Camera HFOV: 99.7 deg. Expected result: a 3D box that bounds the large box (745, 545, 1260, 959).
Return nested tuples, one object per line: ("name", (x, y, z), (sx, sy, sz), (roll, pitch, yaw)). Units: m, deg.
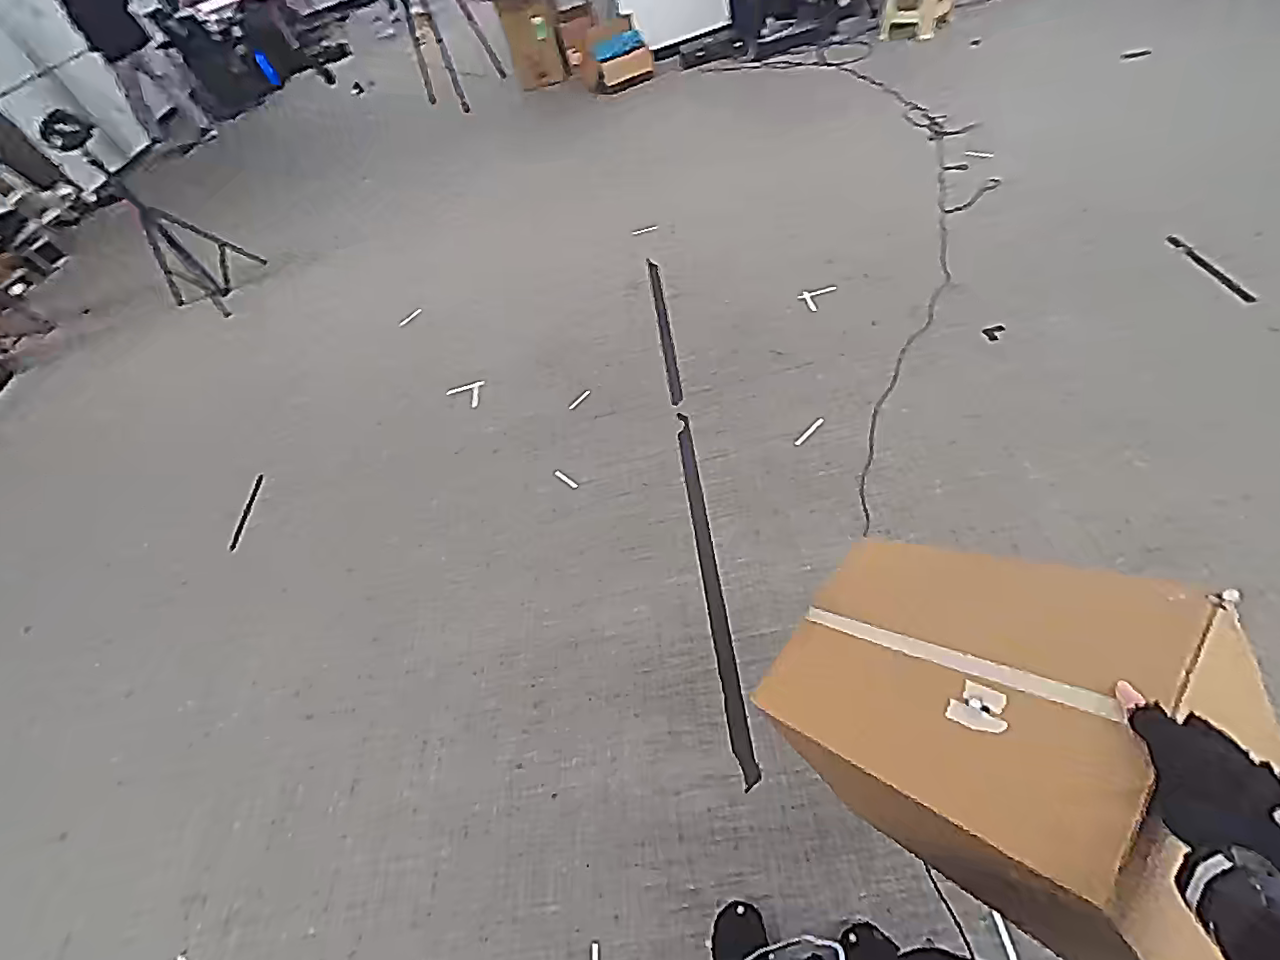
("large box", (0.423, 0.317, 0.676), (0.320, 0.320, 0.408), (-50, 24, -19))
